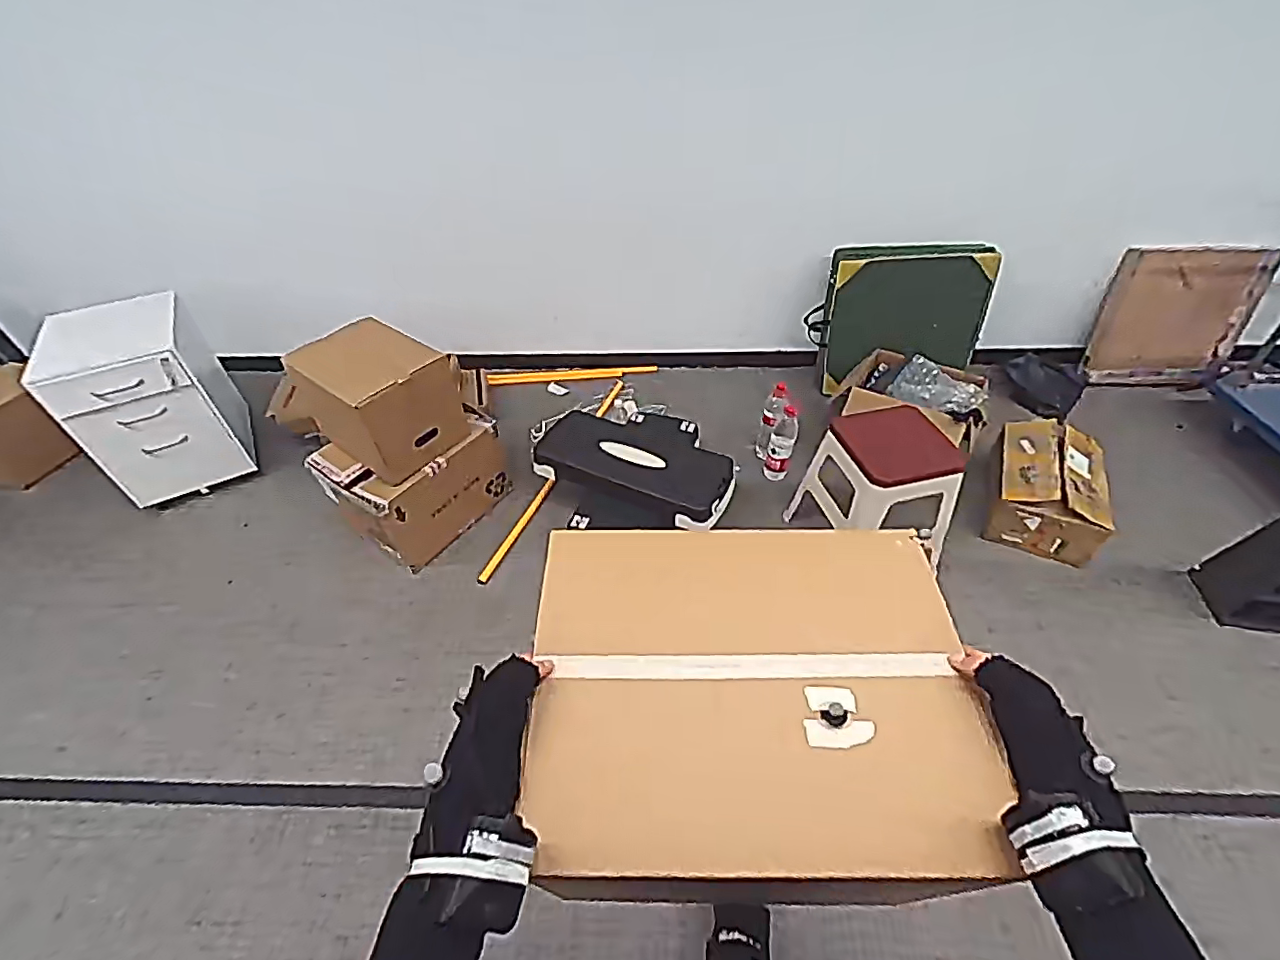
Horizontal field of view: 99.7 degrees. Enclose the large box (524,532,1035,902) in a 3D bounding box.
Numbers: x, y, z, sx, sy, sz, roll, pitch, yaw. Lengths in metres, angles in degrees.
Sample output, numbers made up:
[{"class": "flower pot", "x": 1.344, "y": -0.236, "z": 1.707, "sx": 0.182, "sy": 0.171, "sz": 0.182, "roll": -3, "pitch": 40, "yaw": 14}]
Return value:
[{"class": "large box", "x": 0.106, "y": 0.274, "z": 0.622, "sx": 0.408, "sy": 0.320, "sz": 0.320, "roll": 0, "pitch": 49, "yaw": 0}]
